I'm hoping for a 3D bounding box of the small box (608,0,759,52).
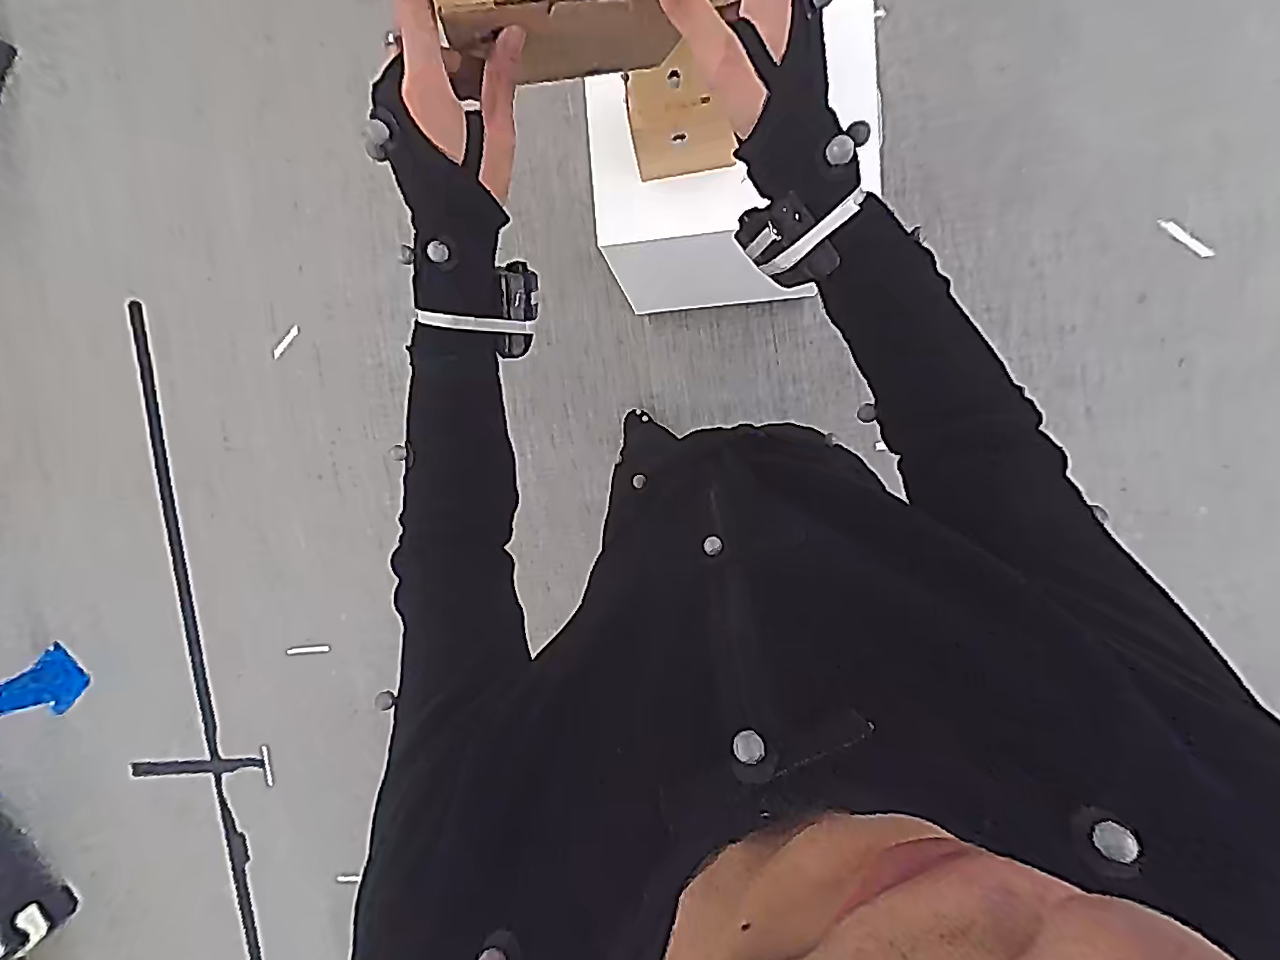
[{"bbox_3d":[0.041,-0.610,0.583,0.179,0.176,0.168,-6,93,7],"label":"small box"}]

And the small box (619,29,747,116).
[{"bbox_3d":[0.057,-0.639,0.746,0.168,0.176,0.179,-6,92,7],"label":"small box"}]

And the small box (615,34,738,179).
[{"bbox_3d":[0.065,-0.636,0.909,0.179,0.176,0.168,-7,93,6],"label":"small box"}]
